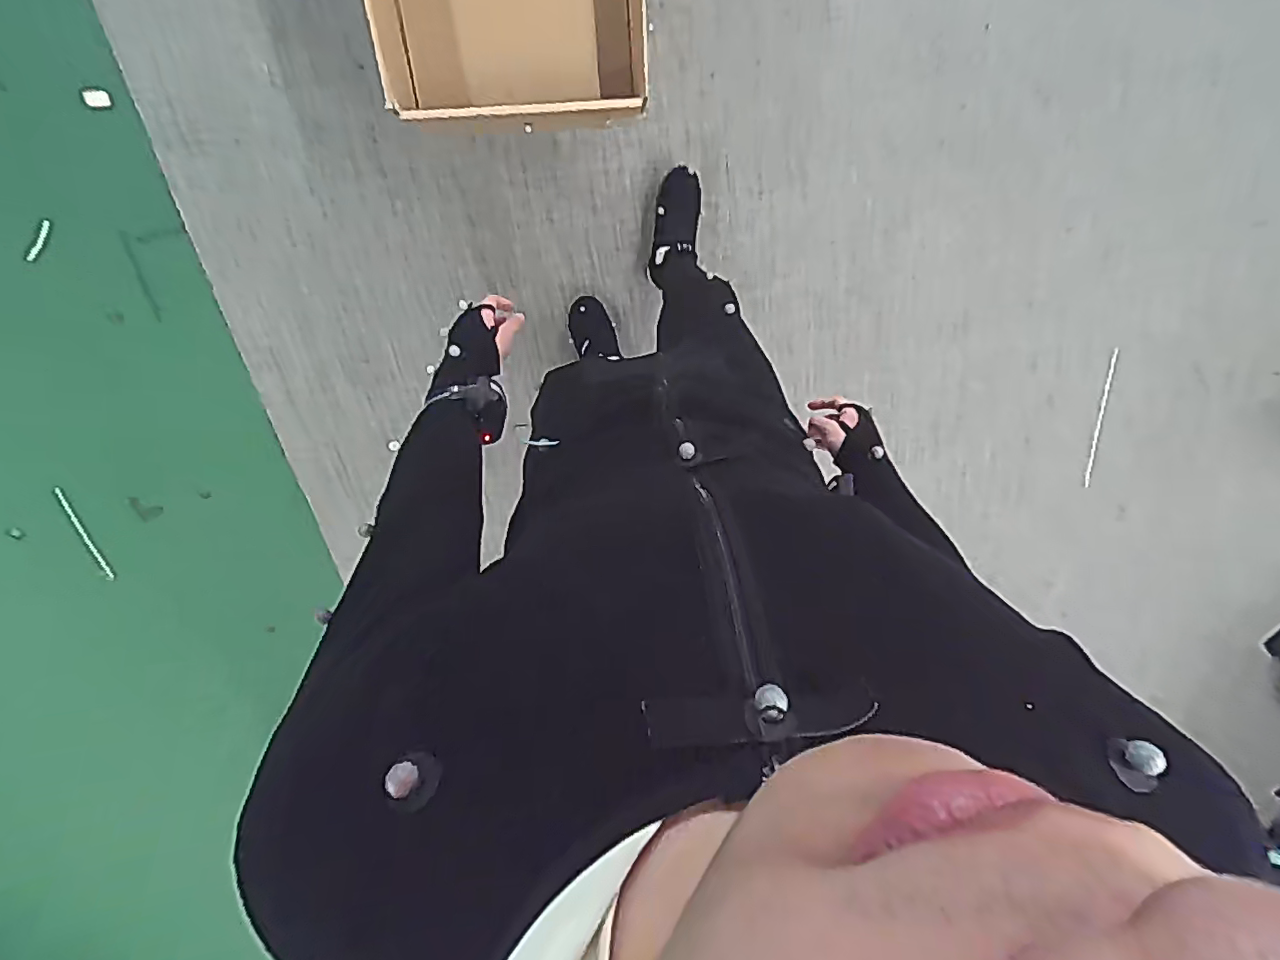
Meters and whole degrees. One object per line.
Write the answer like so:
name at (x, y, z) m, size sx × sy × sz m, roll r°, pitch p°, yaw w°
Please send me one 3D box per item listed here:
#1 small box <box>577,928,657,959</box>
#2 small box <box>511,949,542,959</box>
small box at (-0.055, 1.297, 1.387) m, size 0.168 × 0.176 × 0.179 m, roll -27°, pitch 114°, yaw 7°
small box at (-0.338, 1.362, 1.392) m, size 0.179 × 0.176 × 0.168 m, roll -15°, pitch 114°, yaw 0°
